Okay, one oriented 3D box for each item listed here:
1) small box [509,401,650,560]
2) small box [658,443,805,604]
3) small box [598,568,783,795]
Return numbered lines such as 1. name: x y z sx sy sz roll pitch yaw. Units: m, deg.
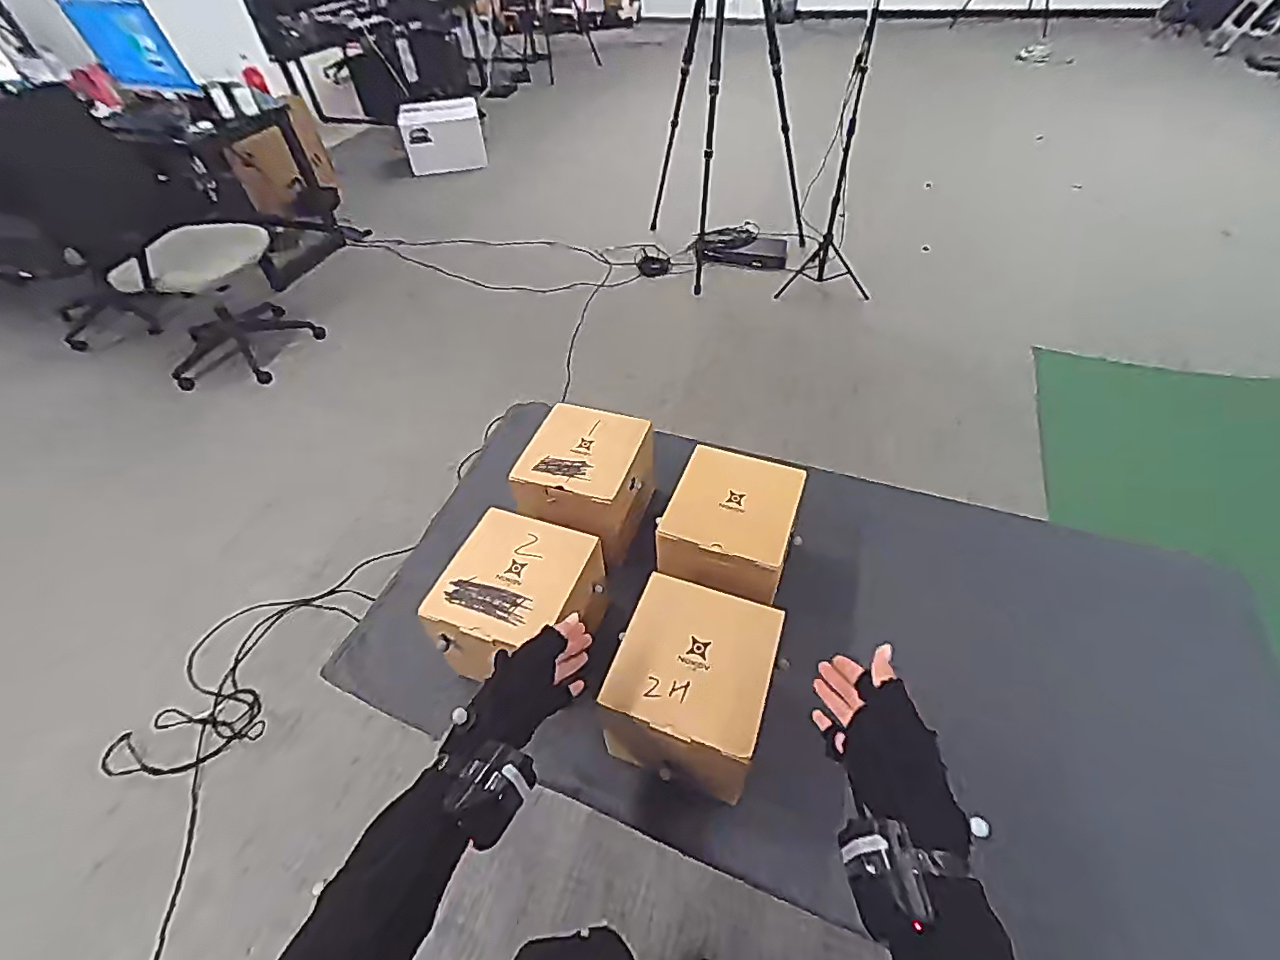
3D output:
1. small box: -0.084 0.003 0.875 0.168 0.176 0.179 13 51 14
2. small box: 0.131 0.079 0.798 0.168 0.176 0.179 16 53 16
3. small box: 0.062 0.242 0.653 0.168 0.176 0.179 15 50 16
